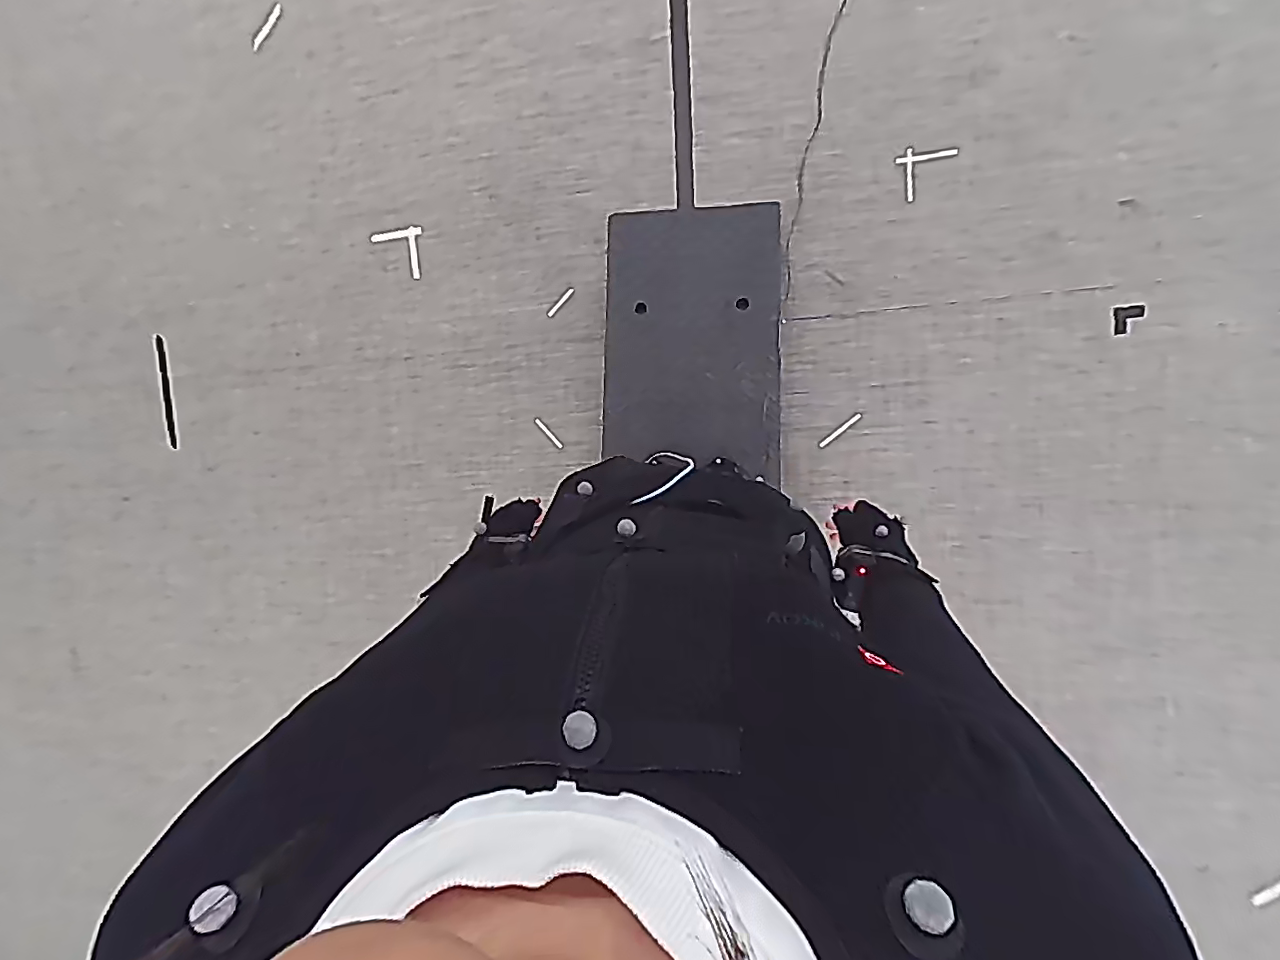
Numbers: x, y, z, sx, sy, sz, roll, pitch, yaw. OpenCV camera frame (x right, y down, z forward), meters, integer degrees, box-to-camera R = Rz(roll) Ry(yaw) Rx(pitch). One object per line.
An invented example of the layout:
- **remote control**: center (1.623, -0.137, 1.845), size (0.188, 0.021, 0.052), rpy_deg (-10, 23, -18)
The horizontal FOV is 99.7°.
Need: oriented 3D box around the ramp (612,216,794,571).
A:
- **ramp**: center (0.162, -0.249, 1.513), size (0.509, 0.206, 0.991), rpy_deg (-3, 92, 11)
